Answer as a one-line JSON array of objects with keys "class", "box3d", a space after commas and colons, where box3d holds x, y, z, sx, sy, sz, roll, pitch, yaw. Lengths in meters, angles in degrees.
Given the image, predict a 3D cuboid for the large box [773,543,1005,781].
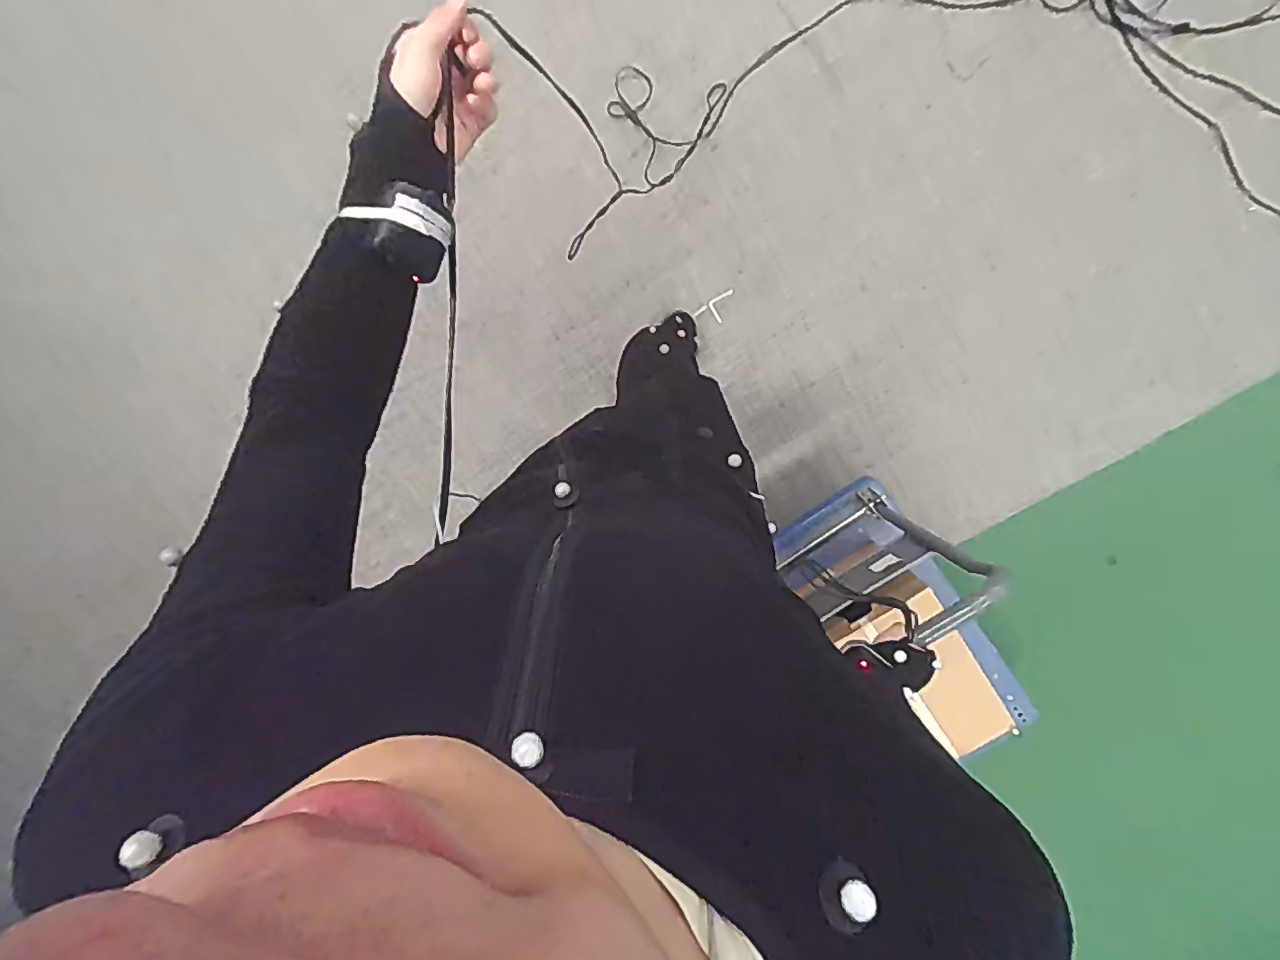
[{"class": "large box", "box3d": [0.595, 0.436, 1.363, 0.320, 0.320, 0.408, -33, 99, 8]}]
